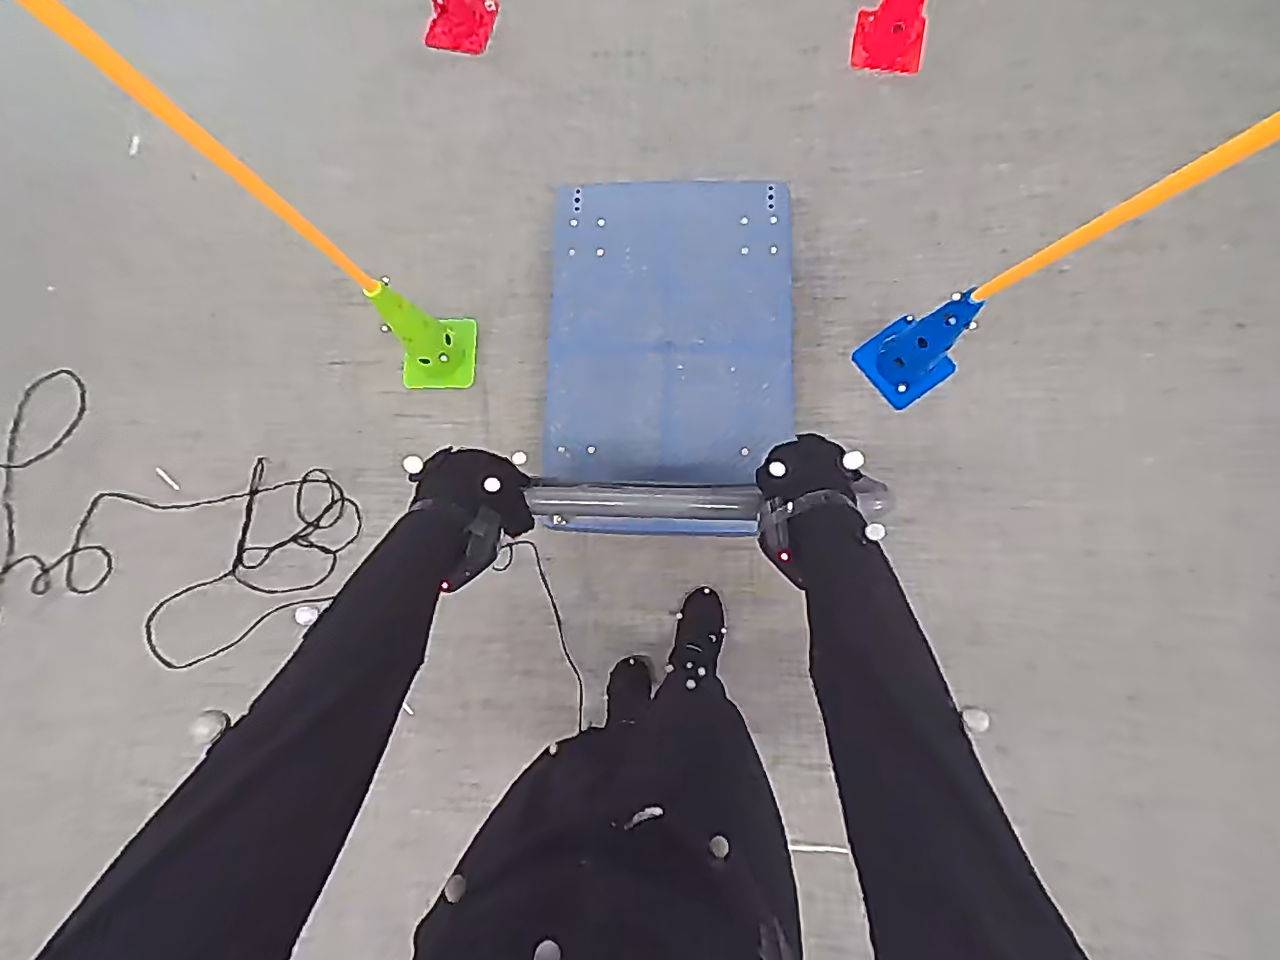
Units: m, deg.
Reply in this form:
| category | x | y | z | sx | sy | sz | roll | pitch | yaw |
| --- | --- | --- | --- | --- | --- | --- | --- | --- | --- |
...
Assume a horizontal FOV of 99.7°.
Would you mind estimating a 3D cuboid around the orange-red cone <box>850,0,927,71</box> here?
| category | x | y | z | sx | sy | sz | roll | pitch | yaw |
| --- | --- | --- | --- | --- | --- | --- | --- | --- | --- |
| orange-red cone | 0.704 | -1.301 | 1.396 | 0.198 | 0.360 | 0.199 | 12 | 82 | 7 |
